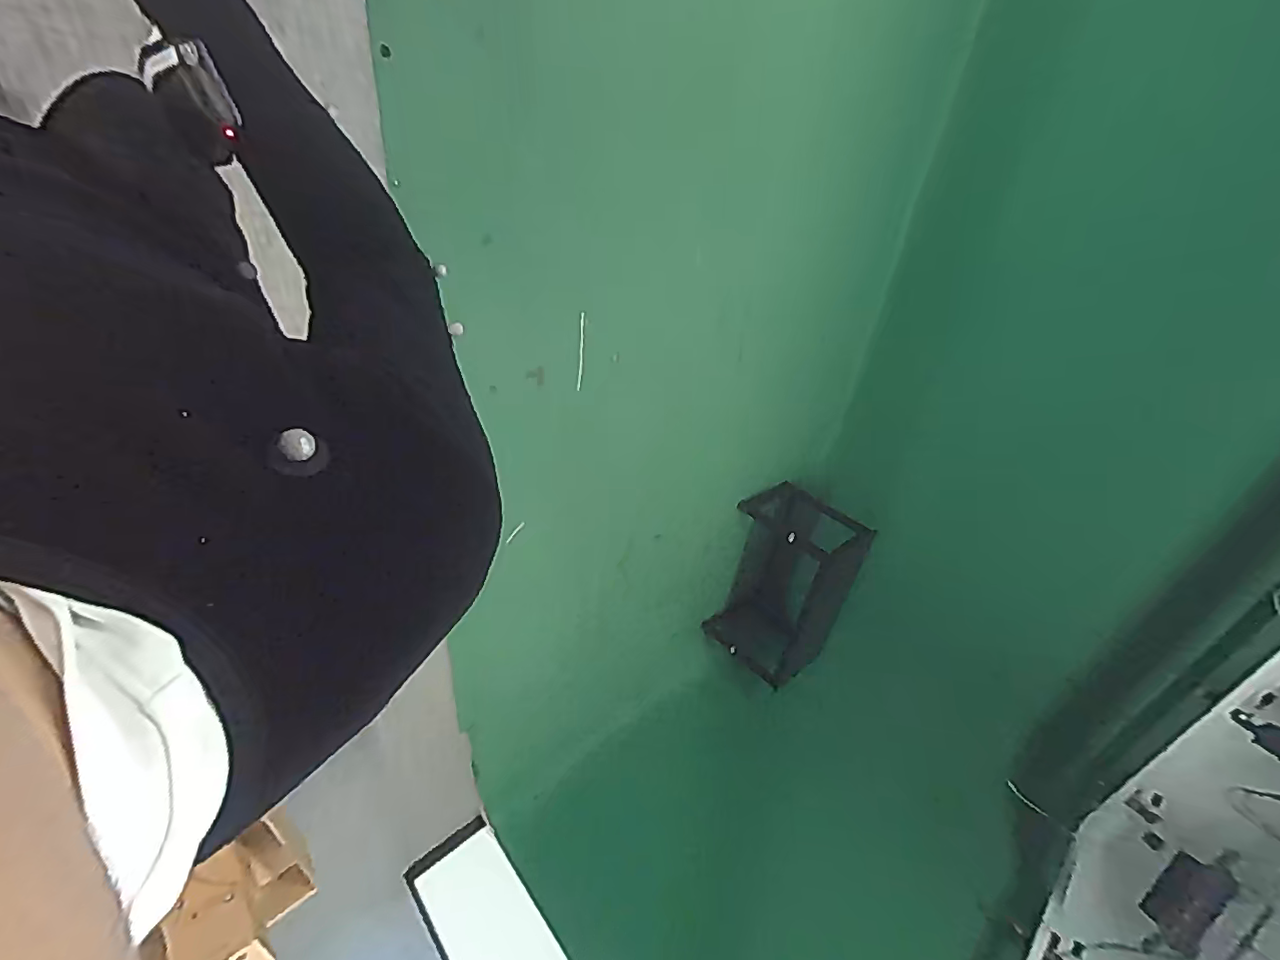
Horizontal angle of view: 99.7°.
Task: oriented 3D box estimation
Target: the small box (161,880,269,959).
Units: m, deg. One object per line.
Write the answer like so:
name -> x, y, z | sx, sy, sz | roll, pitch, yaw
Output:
small box -> -1.089, 1.180, 1.386 | 0.168, 0.176, 0.179 | -23, 136, -36

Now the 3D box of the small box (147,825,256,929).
small box -> -1.196, 1.094, 1.476 | 0.179, 0.176, 0.168 | -25, 137, -35
